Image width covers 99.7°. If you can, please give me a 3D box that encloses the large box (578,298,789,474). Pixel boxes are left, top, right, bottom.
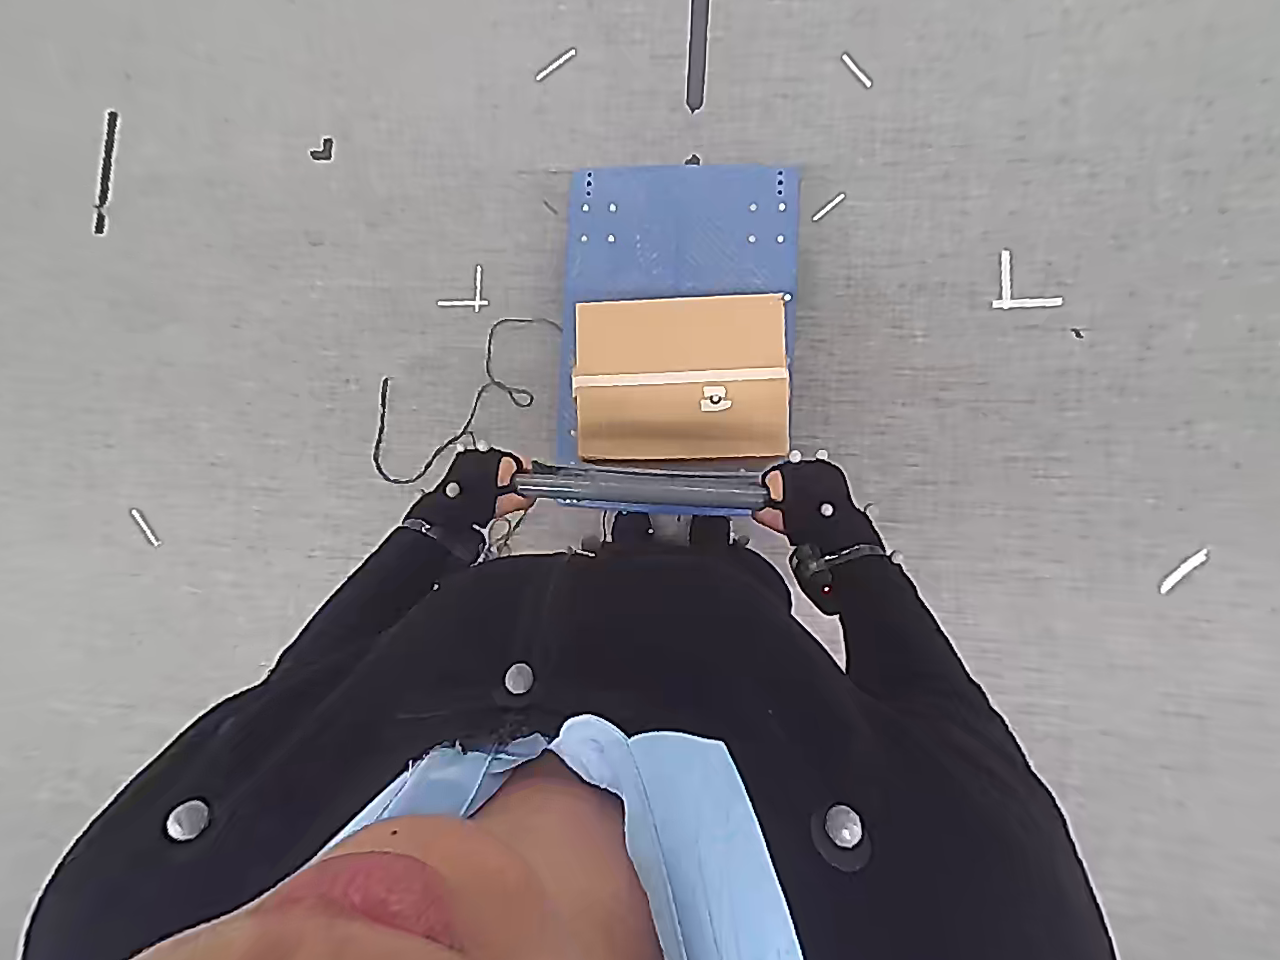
[{"bbox_3d":[0.089,-0.183,1.195,0.408,0.320,0.320,-1,88,4],"label":"large box"}]
